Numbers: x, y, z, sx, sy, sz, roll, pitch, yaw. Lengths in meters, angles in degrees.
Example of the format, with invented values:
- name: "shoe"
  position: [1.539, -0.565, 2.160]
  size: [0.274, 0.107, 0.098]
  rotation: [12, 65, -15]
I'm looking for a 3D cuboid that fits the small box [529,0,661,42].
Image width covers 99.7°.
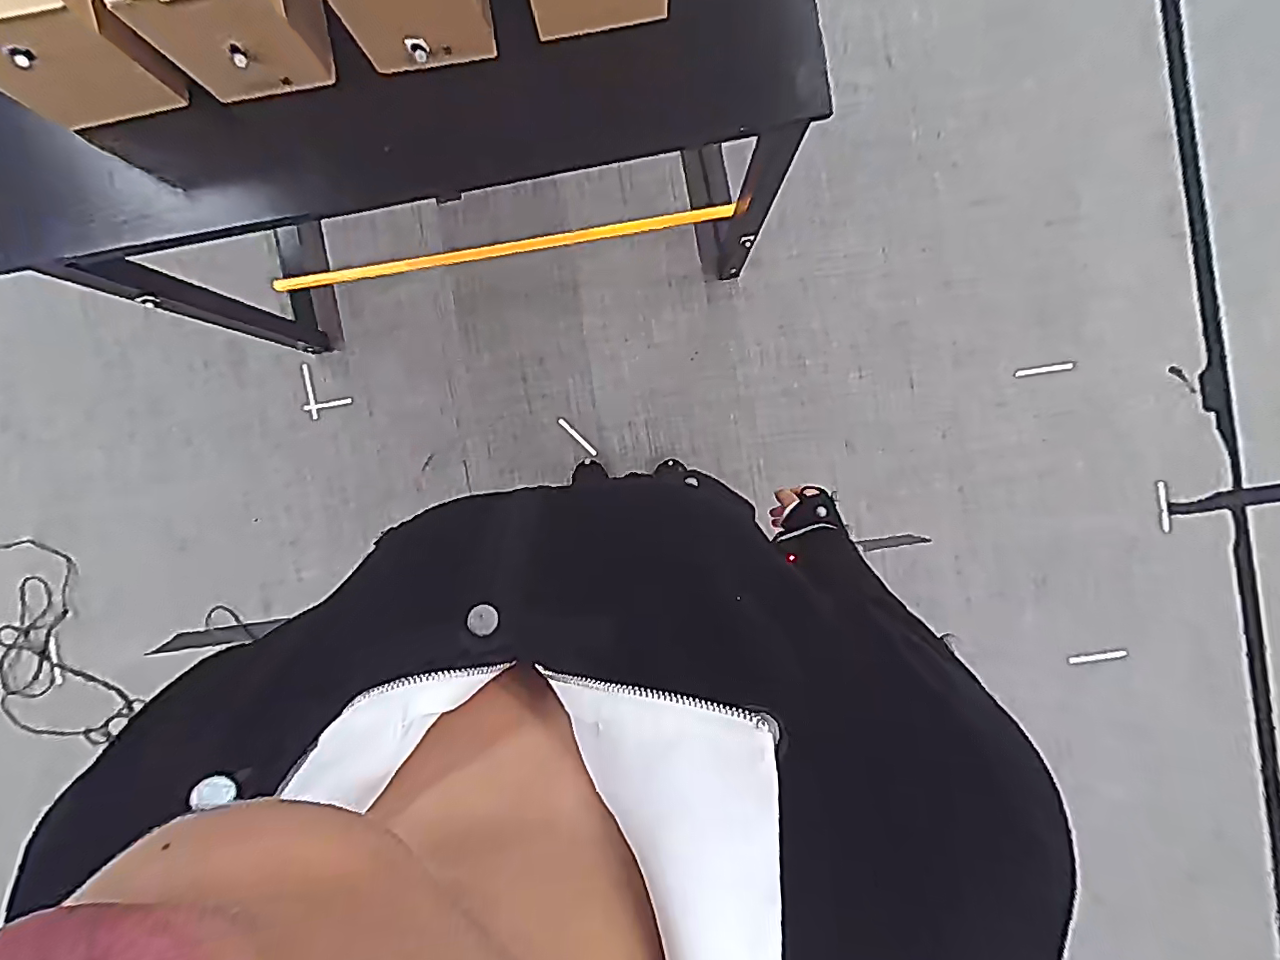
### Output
- name: "small box"
  position: [-0.064, -0.686, 0.657]
  size: [0.179, 0.176, 0.168]
  rotation: [-9, 91, 2]

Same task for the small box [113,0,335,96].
- name: "small box"
  position: [-0.511, -0.615, 0.671]
  size: [0.168, 0.176, 0.179]
  rotation: [-9, 92, 1]

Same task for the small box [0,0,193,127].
- name: "small box"
  position: [-0.722, -0.580, 0.675]
  size: [0.179, 0.176, 0.168]
  rotation: [-12, 92, 0]
